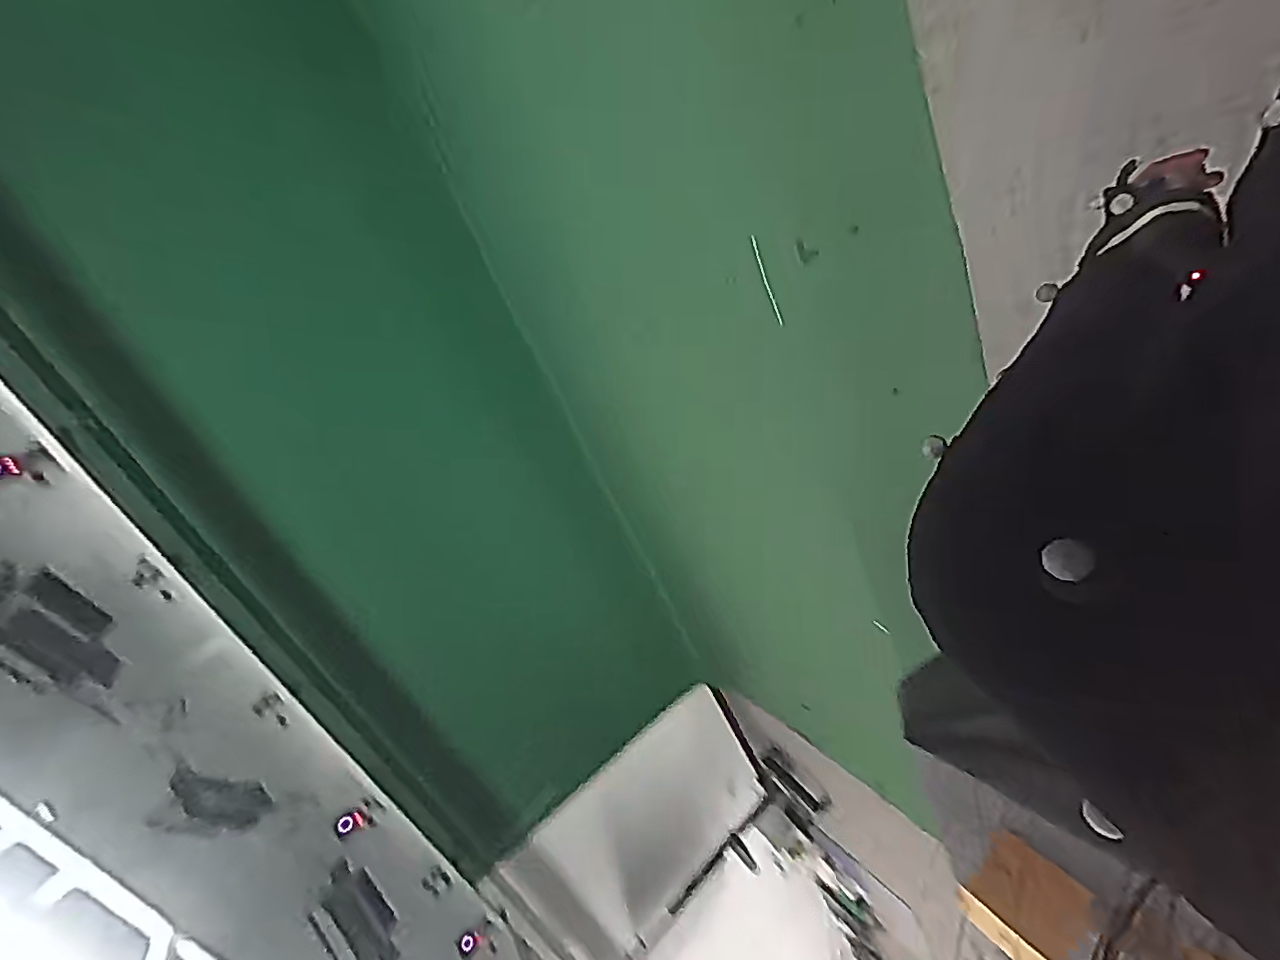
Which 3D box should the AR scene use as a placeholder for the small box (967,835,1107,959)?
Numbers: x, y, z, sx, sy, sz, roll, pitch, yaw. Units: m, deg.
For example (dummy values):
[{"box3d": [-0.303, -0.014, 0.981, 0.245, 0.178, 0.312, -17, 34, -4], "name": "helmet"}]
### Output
[{"box3d": [0.817, 0.884, 1.124, 0.179, 0.176, 0.168, 27, 147, 48], "name": "small box"}]
